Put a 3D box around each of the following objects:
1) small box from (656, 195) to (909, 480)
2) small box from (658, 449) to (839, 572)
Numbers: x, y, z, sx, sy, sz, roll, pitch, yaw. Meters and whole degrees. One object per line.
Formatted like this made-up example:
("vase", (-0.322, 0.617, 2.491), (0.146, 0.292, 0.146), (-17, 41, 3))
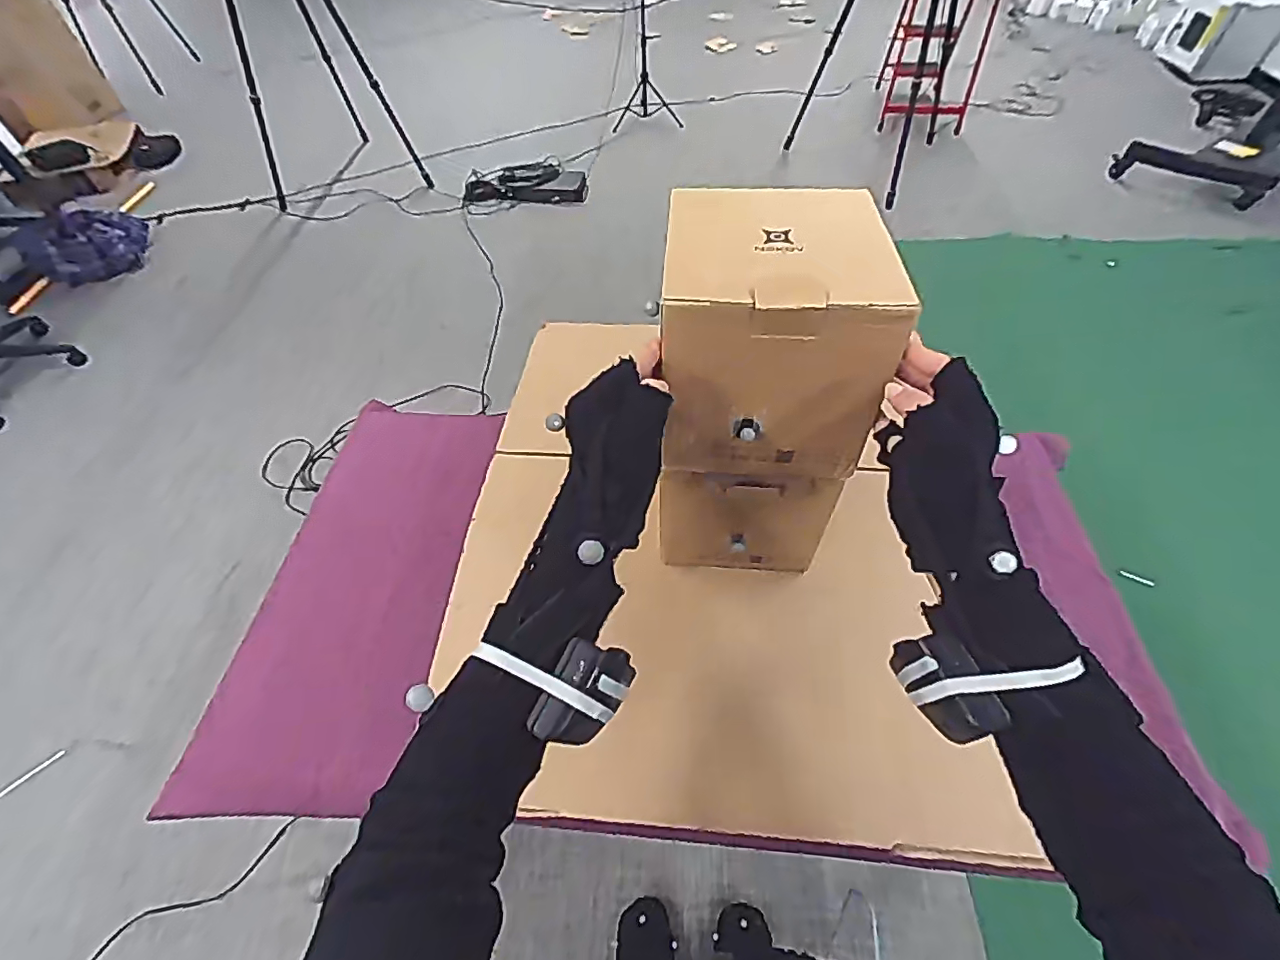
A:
("small box", (0.101, -0.122, 0.468), (0.168, 0.176, 0.179), (2, 51, 4))
("small box", (0.107, -0.019, 0.598), (0.168, 0.176, 0.179), (2, 52, 5))
